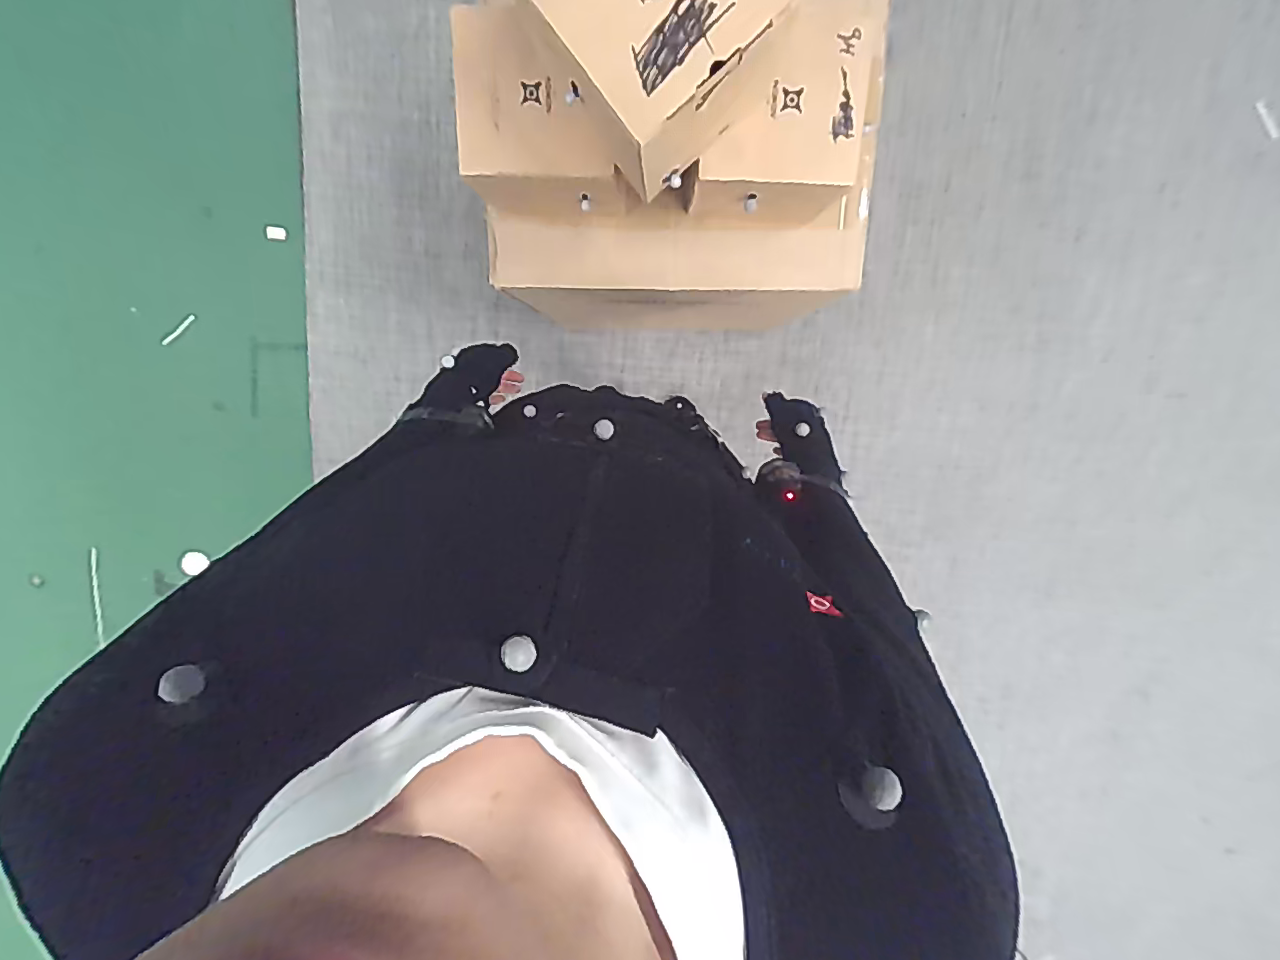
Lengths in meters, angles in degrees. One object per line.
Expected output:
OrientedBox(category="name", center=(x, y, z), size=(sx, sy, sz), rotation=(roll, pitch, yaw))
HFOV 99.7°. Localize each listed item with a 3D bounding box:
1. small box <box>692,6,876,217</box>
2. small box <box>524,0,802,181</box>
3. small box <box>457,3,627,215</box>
OrientedBox(category="small box", center=(0.156, -0.427, 0.653), size=(0.179, 0.176, 0.168), rotation=(4, 104, 2))
OrientedBox(category="small box", center=(0.016, -0.408, 0.494), size=(0.168, 0.176, 0.179), rotation=(-38, 98, 10))
OrientedBox(category="small box", center=(-0.105, -0.435, 0.660), size=(0.179, 0.176, 0.168), rotation=(1, 102, 3))
